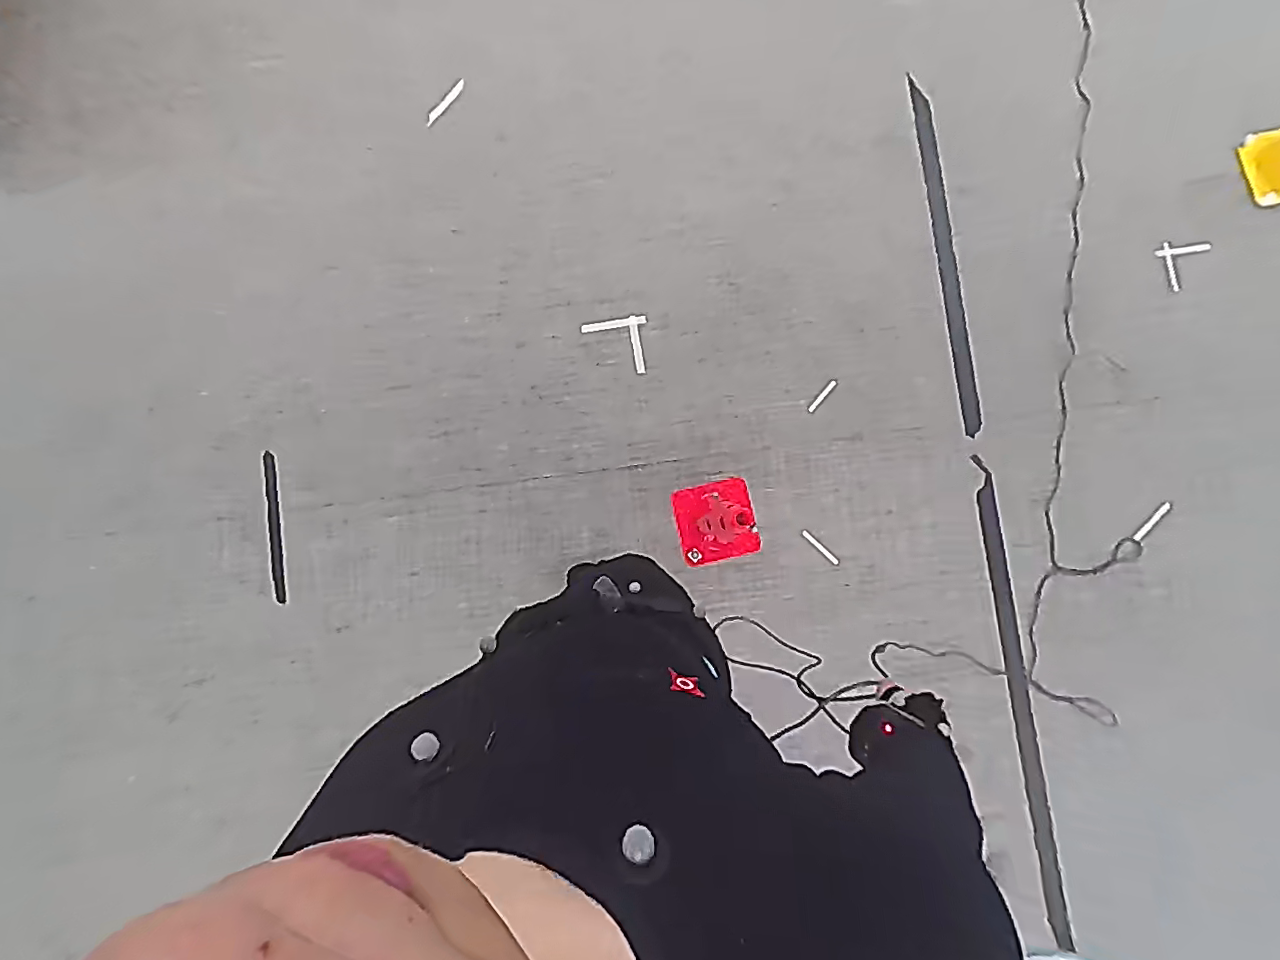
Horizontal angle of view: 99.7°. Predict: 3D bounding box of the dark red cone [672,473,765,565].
[{"bbox_3d":[0.198,0.080,1.180,0.201,0.394,0.202,-14,85,-3],"label":"dark red cone"}]
